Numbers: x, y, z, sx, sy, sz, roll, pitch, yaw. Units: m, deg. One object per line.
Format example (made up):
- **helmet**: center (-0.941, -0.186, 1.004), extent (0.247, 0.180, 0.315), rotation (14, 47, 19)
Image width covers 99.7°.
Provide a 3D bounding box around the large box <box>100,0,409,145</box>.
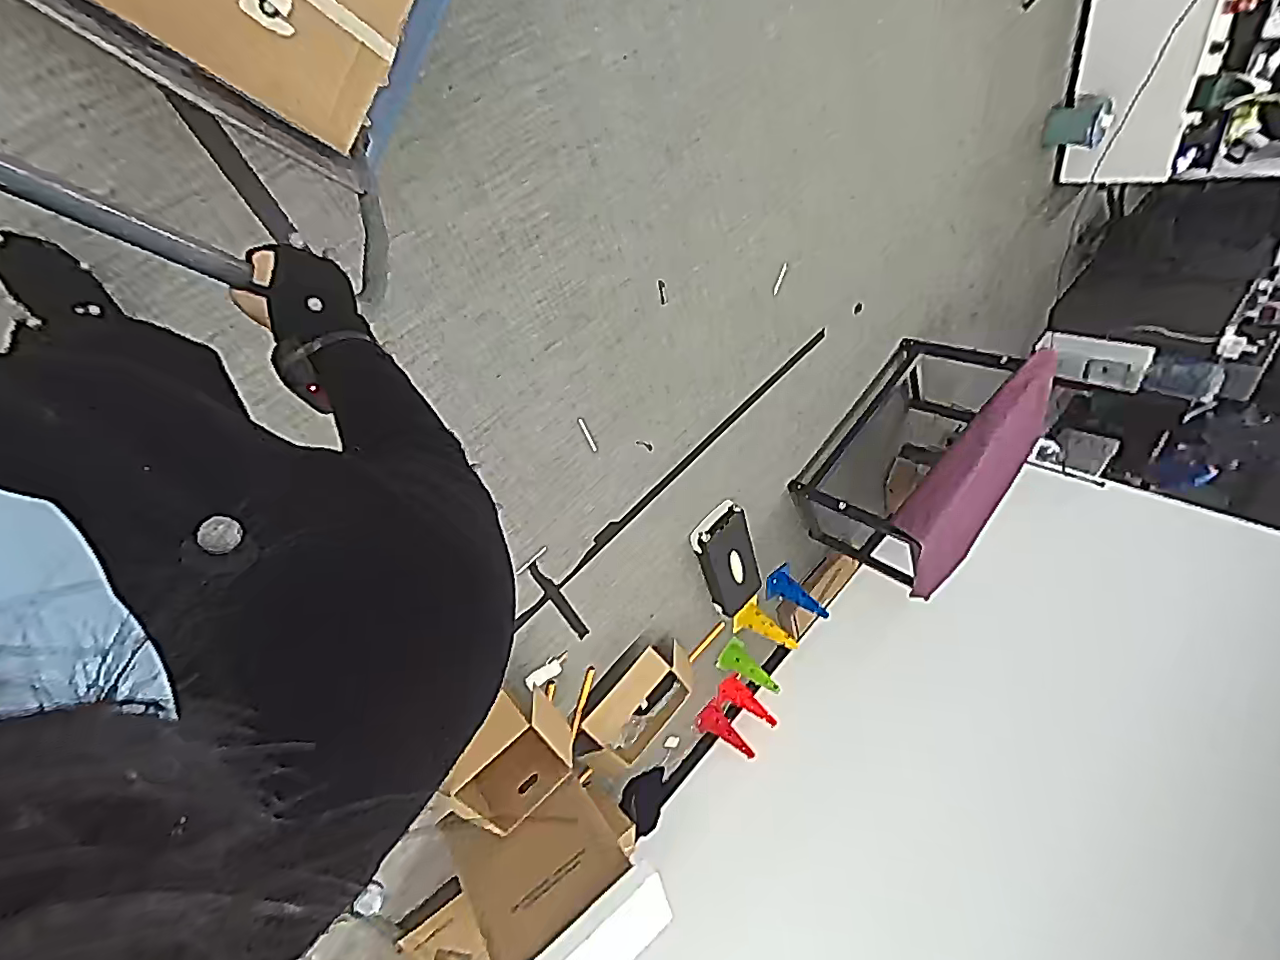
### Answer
- **large box**: center (-0.567, -0.758, 0.735), extent (0.408, 0.320, 0.320), rotation (20, 116, -44)
